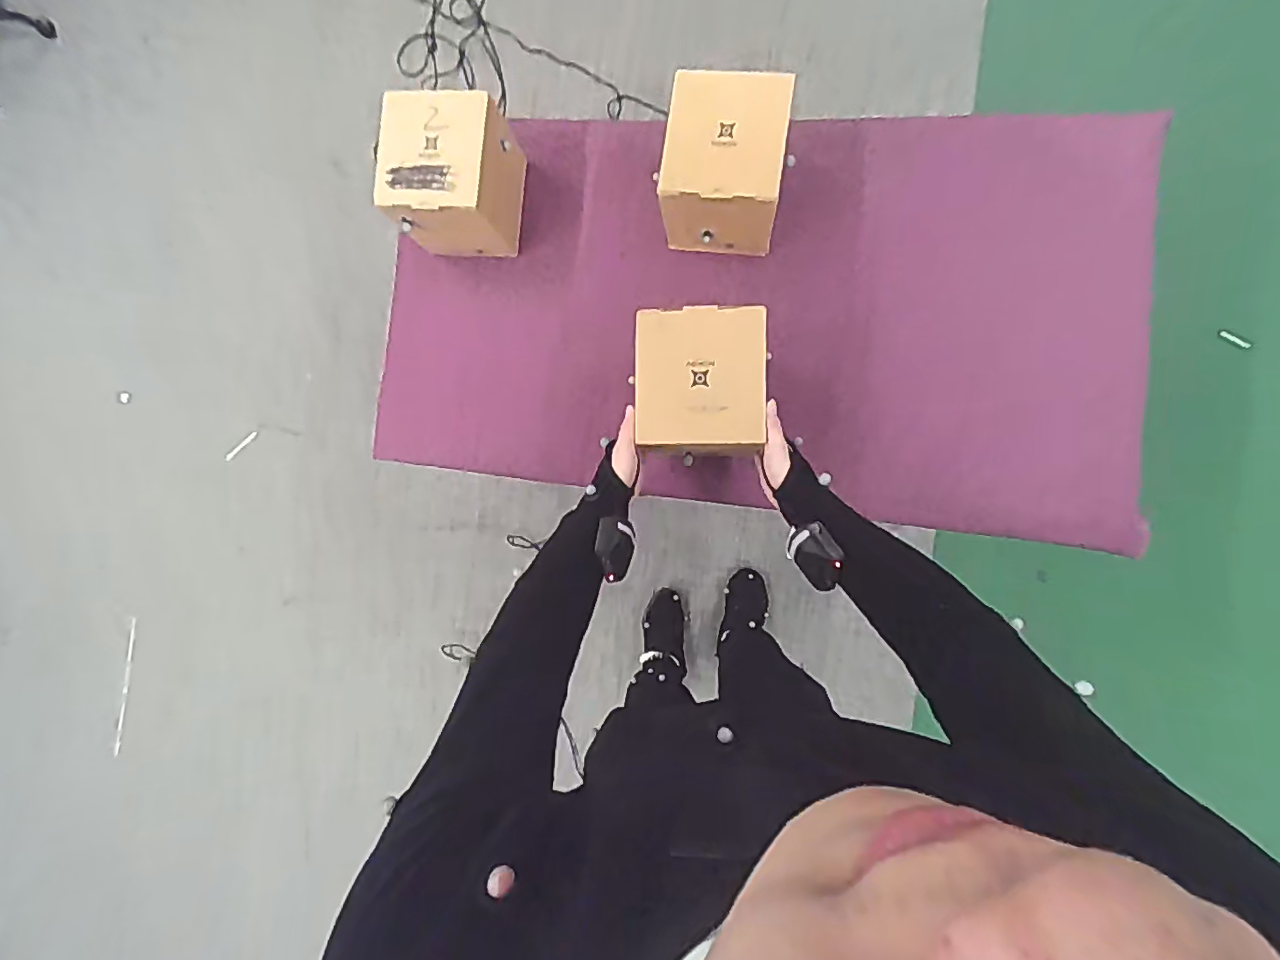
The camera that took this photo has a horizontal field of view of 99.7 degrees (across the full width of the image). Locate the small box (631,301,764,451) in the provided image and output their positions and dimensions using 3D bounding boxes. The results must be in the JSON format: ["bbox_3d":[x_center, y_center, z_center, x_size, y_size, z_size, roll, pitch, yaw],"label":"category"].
[{"bbox_3d":[0.083,-0.137,0.765,0.168,0.176,0.179,1,89,9],"label":"small box"}]

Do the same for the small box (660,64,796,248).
[{"bbox_3d":[0.130,-0.480,0.820,0.168,0.176,0.179,9,91,9],"label":"small box"}]
